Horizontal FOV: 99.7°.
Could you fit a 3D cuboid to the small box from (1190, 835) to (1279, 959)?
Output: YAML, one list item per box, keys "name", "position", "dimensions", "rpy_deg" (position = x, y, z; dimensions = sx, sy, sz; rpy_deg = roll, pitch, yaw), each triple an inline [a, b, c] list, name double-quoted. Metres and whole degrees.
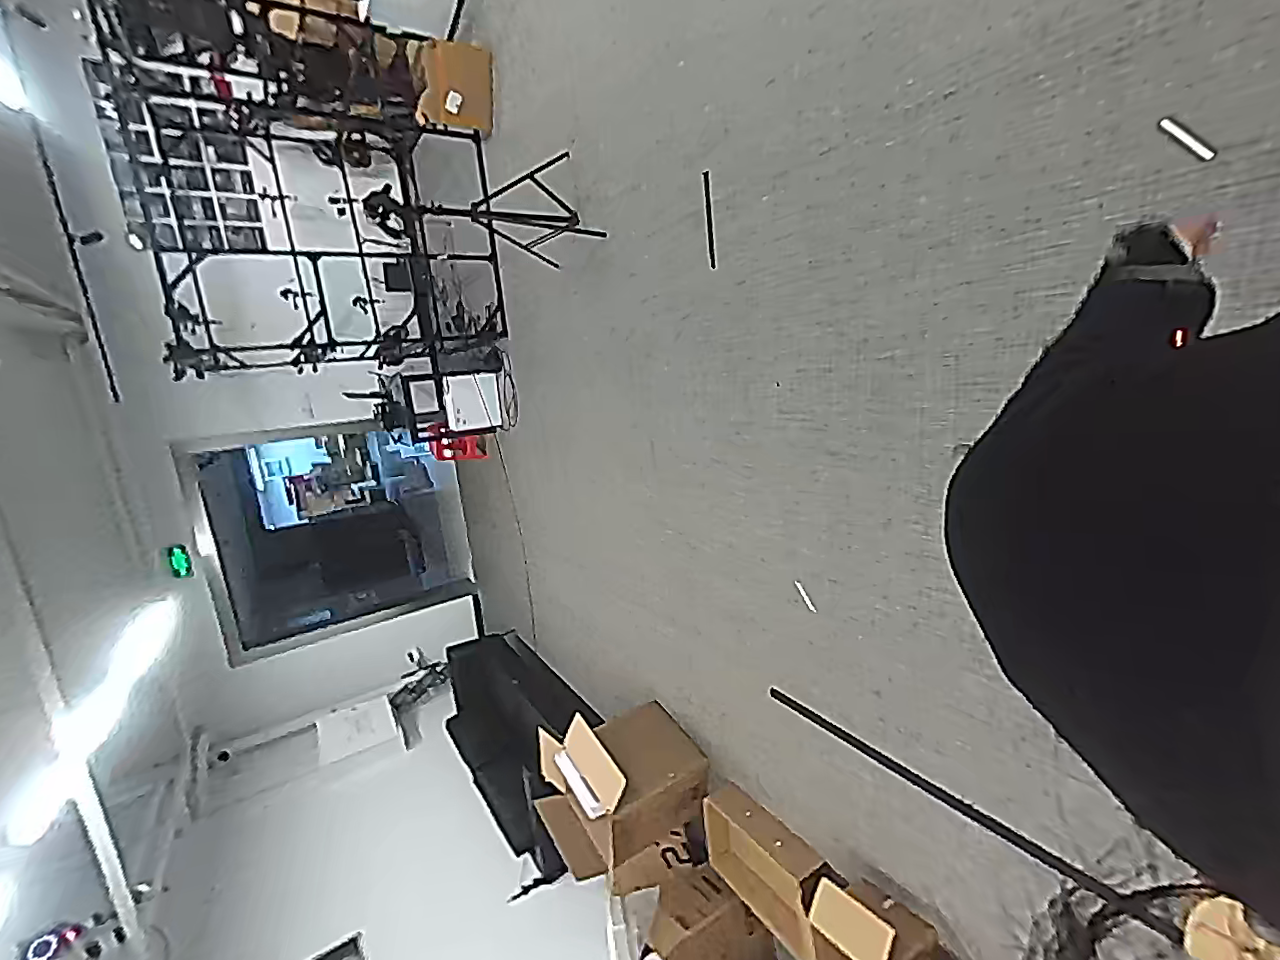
- name: "small box"
  position: [1.133, 0.786, 0.961]
  dimensions: [0.179, 0.176, 0.168]
  rpy_deg: [14, 113, 58]
